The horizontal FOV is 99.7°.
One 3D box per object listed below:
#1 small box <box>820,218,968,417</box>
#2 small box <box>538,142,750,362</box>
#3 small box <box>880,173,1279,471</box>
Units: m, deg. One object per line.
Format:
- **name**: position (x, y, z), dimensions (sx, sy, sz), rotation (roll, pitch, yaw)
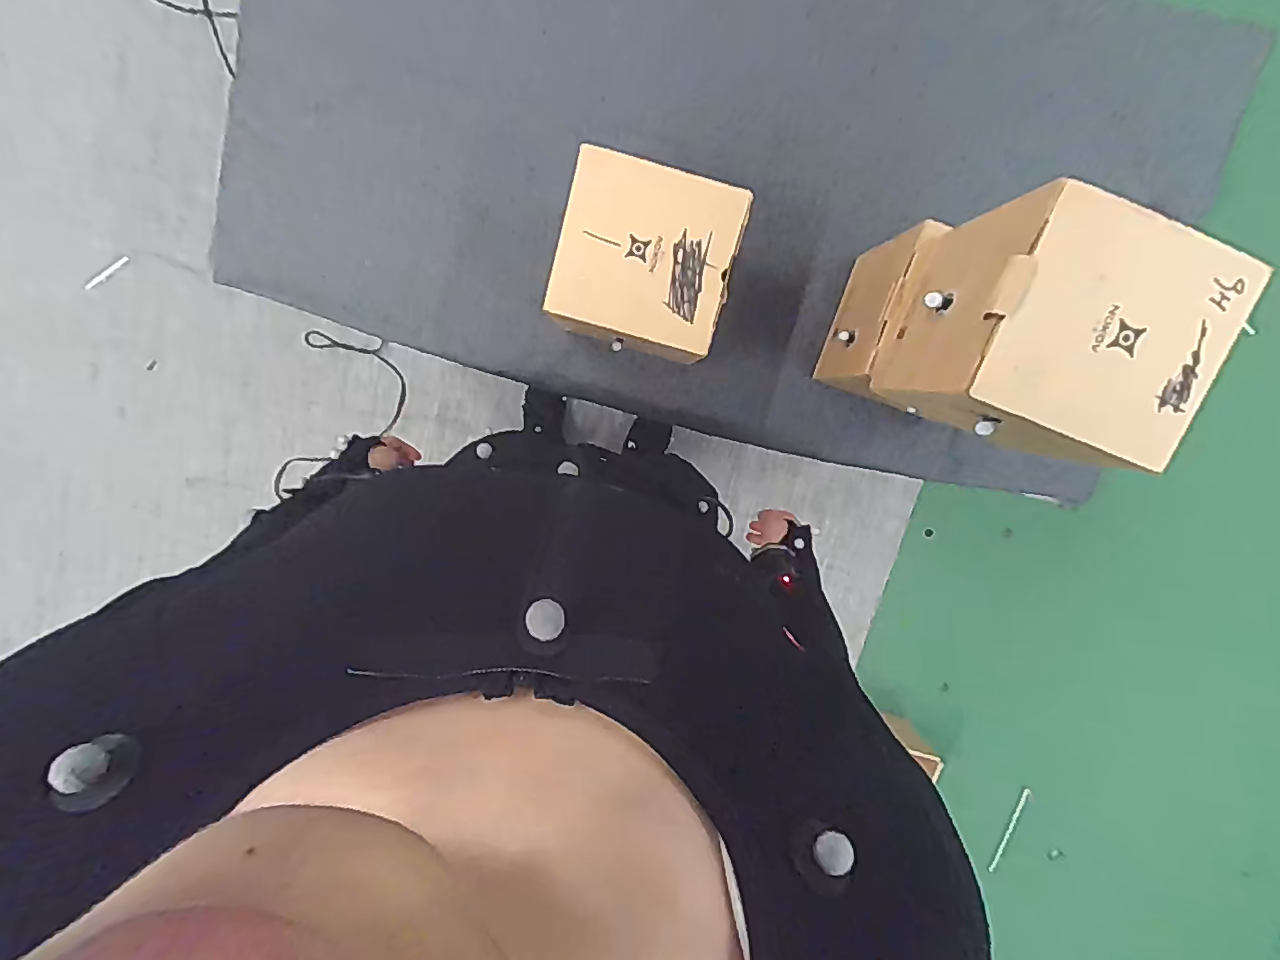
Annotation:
- **small box**: position (0.336, -0.170, 0.626), dimensions (0.179, 0.176, 0.168), rotation (18, 100, -5)
- **small box**: position (0.003, -0.235, 0.608), dimensions (0.179, 0.176, 0.168), rotation (15, 98, -2)
- **small box**: position (0.345, -0.122, 0.468), dimensions (0.179, 0.176, 0.168), rotation (21, 99, -4)
